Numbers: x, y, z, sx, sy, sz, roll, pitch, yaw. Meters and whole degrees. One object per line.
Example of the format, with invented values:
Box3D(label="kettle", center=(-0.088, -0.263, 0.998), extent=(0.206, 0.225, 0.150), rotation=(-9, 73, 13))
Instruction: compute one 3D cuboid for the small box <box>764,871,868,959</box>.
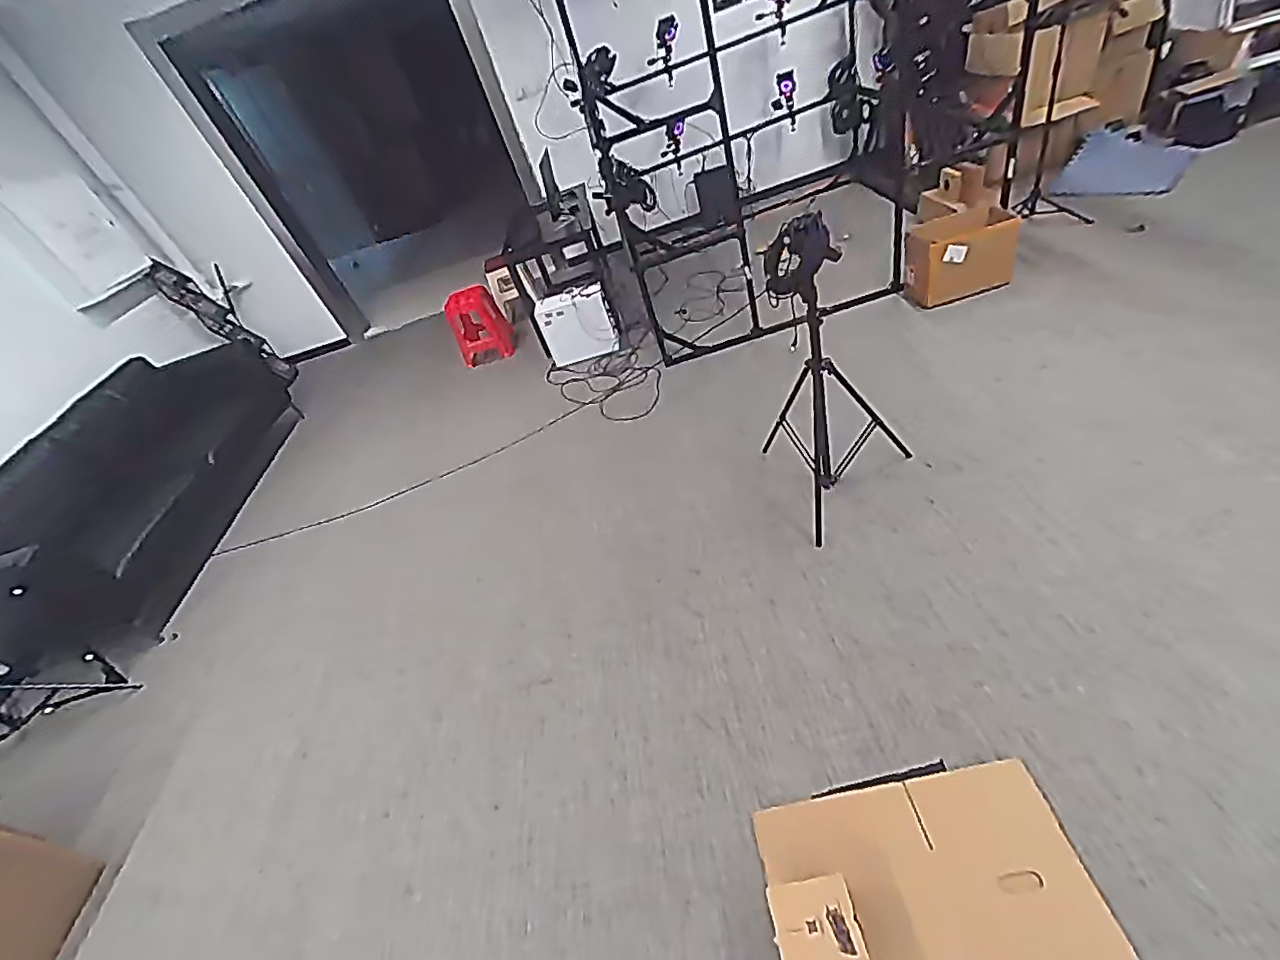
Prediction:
Box3D(label="small box", center=(0.386, 0.986, 1.184), extent=(0.179, 0.176, 0.168), rotation=(-17, 40, 7))
